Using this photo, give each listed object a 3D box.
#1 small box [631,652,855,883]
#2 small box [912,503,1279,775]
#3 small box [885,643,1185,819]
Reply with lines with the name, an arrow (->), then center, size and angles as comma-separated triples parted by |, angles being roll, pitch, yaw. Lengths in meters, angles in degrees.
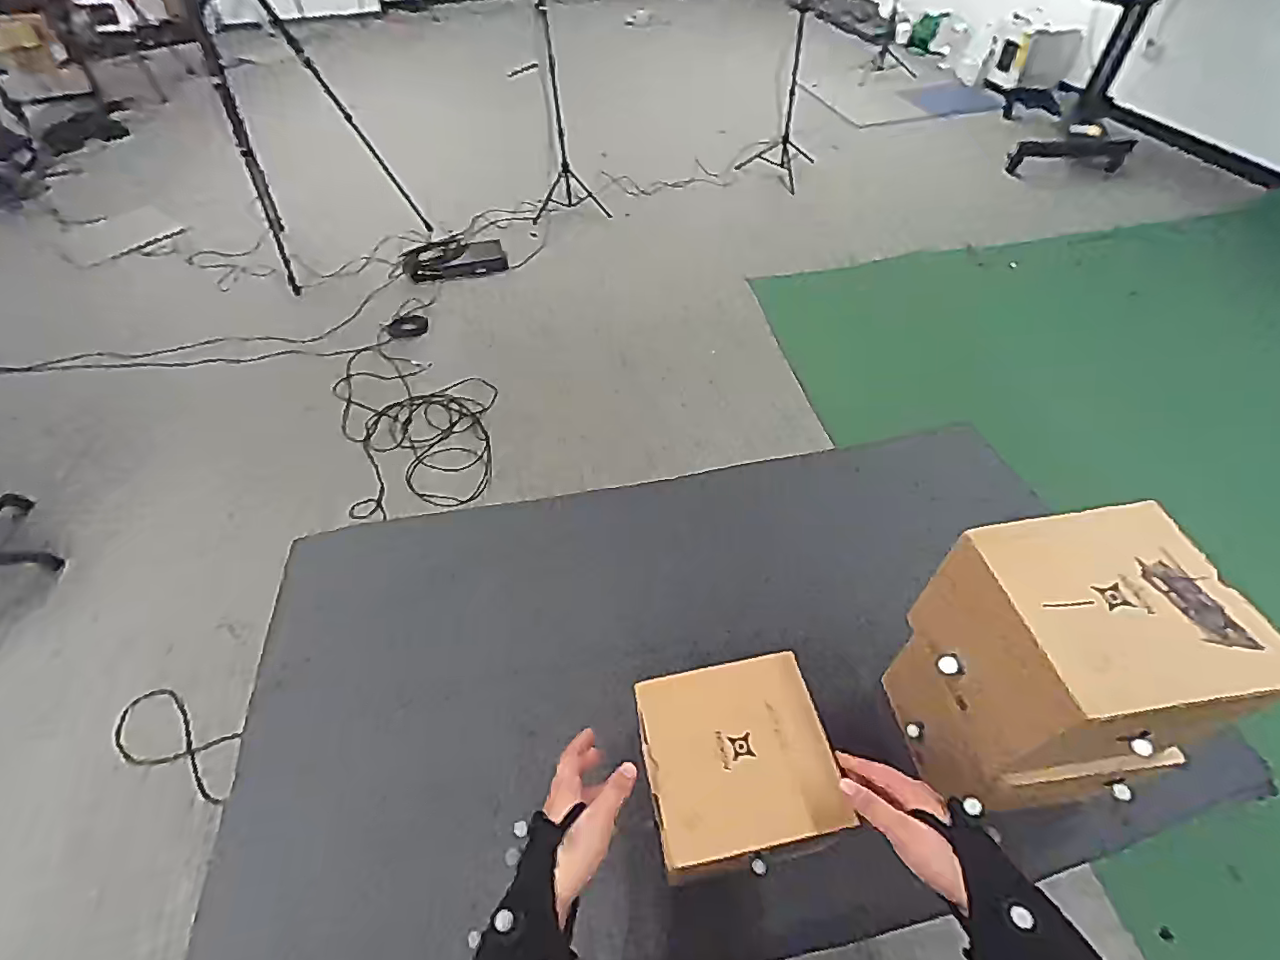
small box -> 0.094, 0.309, 0.577 | 0.179, 0.176, 0.168 | -10, 51, -6
small box -> 0.380, 0.144, 0.479 | 0.179, 0.176, 0.168 | -8, 49, -2
small box -> 0.404, 0.257, 0.596 | 0.179, 0.176, 0.168 | -7, 48, -1
